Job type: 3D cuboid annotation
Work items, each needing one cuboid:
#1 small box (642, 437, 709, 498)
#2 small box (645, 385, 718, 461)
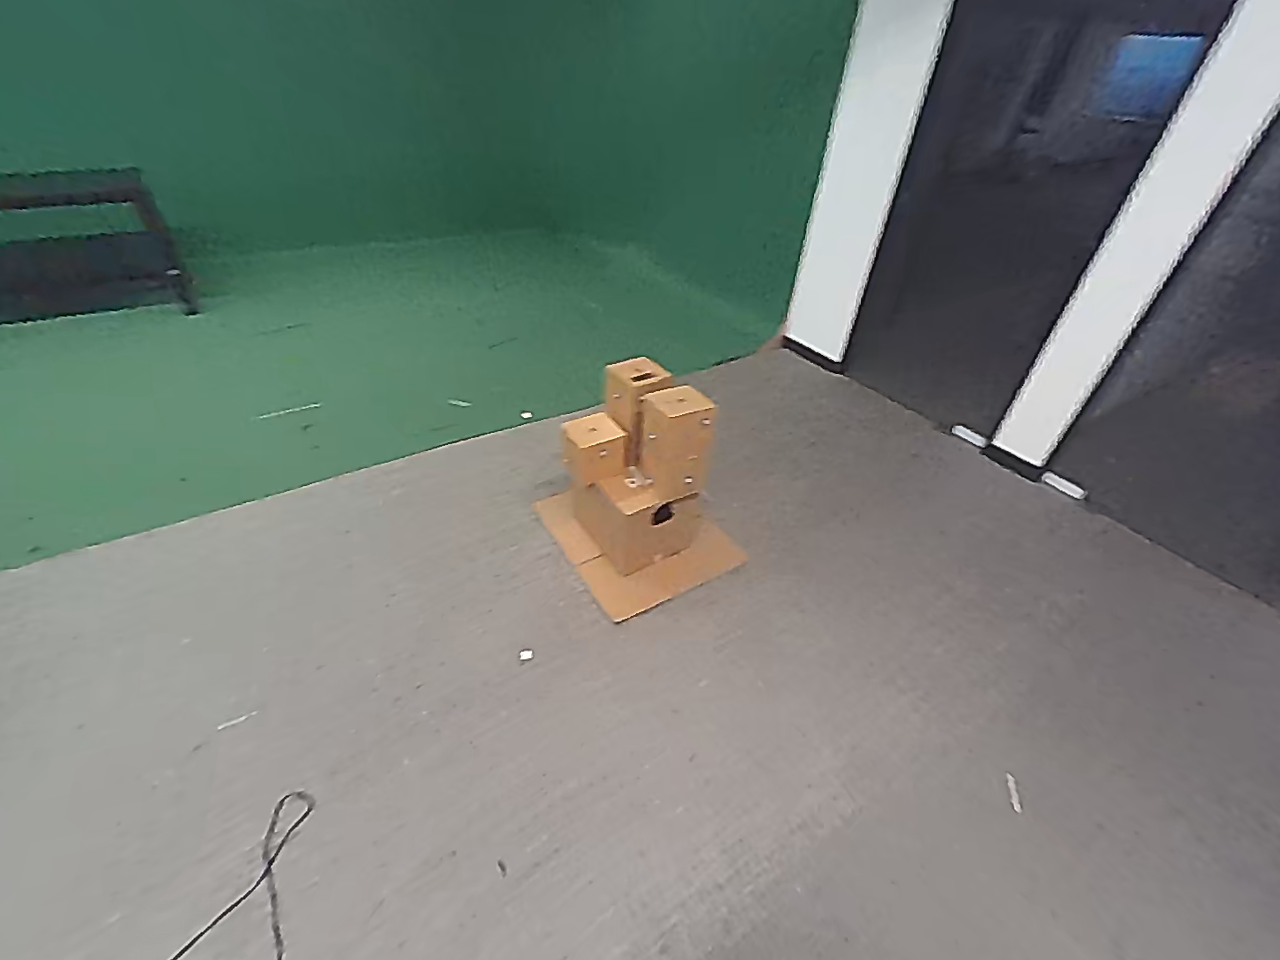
[{"bbox_3d":[0.117,-0.054,1.867,0.168,0.176,0.179,-17,41,-24],"label":"small box"},{"bbox_3d":[0.128,-0.186,1.764,0.179,0.176,0.168,-17,41,-24],"label":"small box"}]
